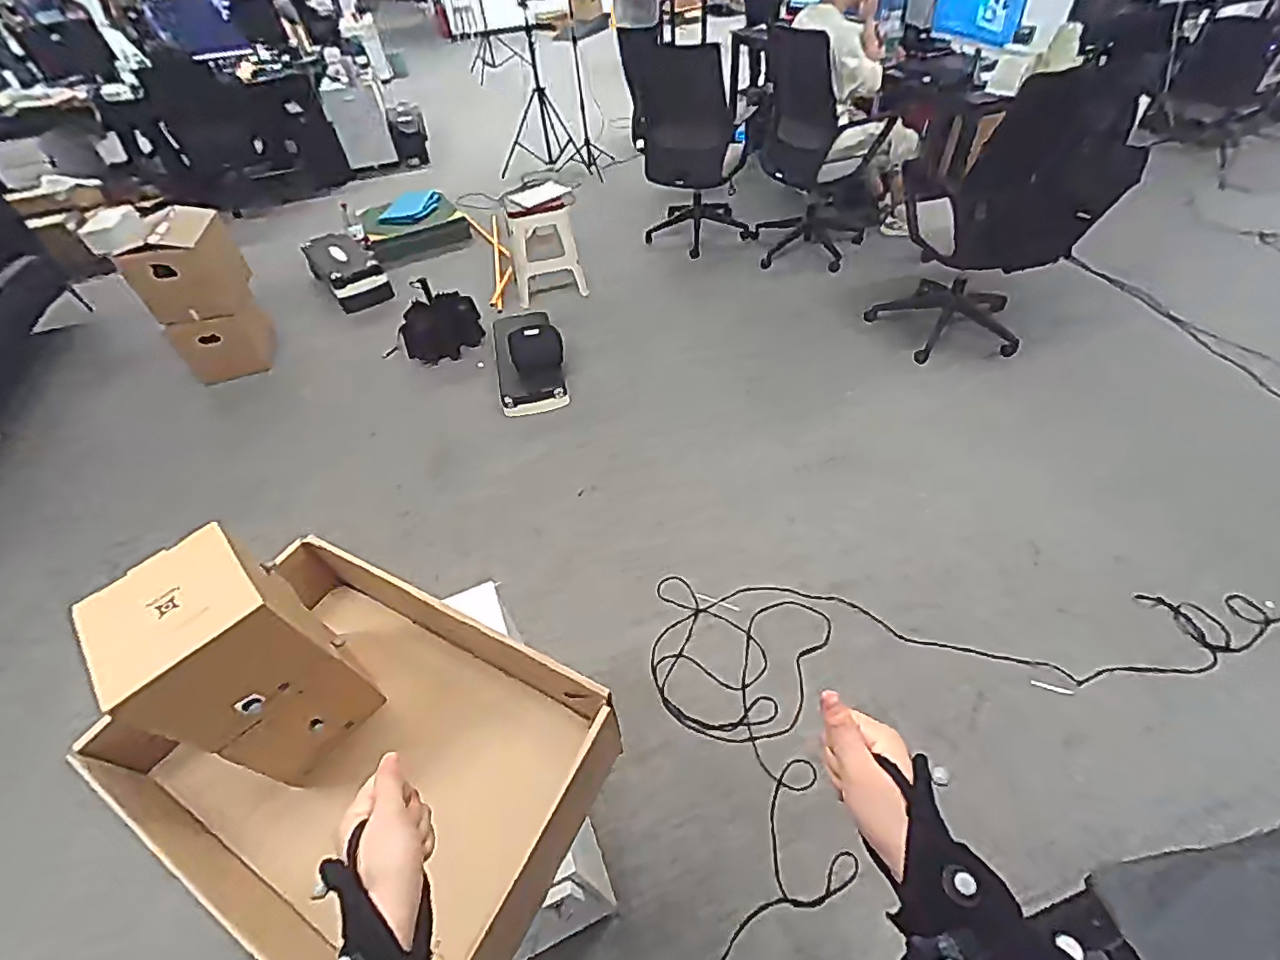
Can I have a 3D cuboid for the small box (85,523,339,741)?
[{"bbox_3d":[-0.529,0.195,0.686,0.179,0.176,0.168,35,62,30],"label":"small box"}]
